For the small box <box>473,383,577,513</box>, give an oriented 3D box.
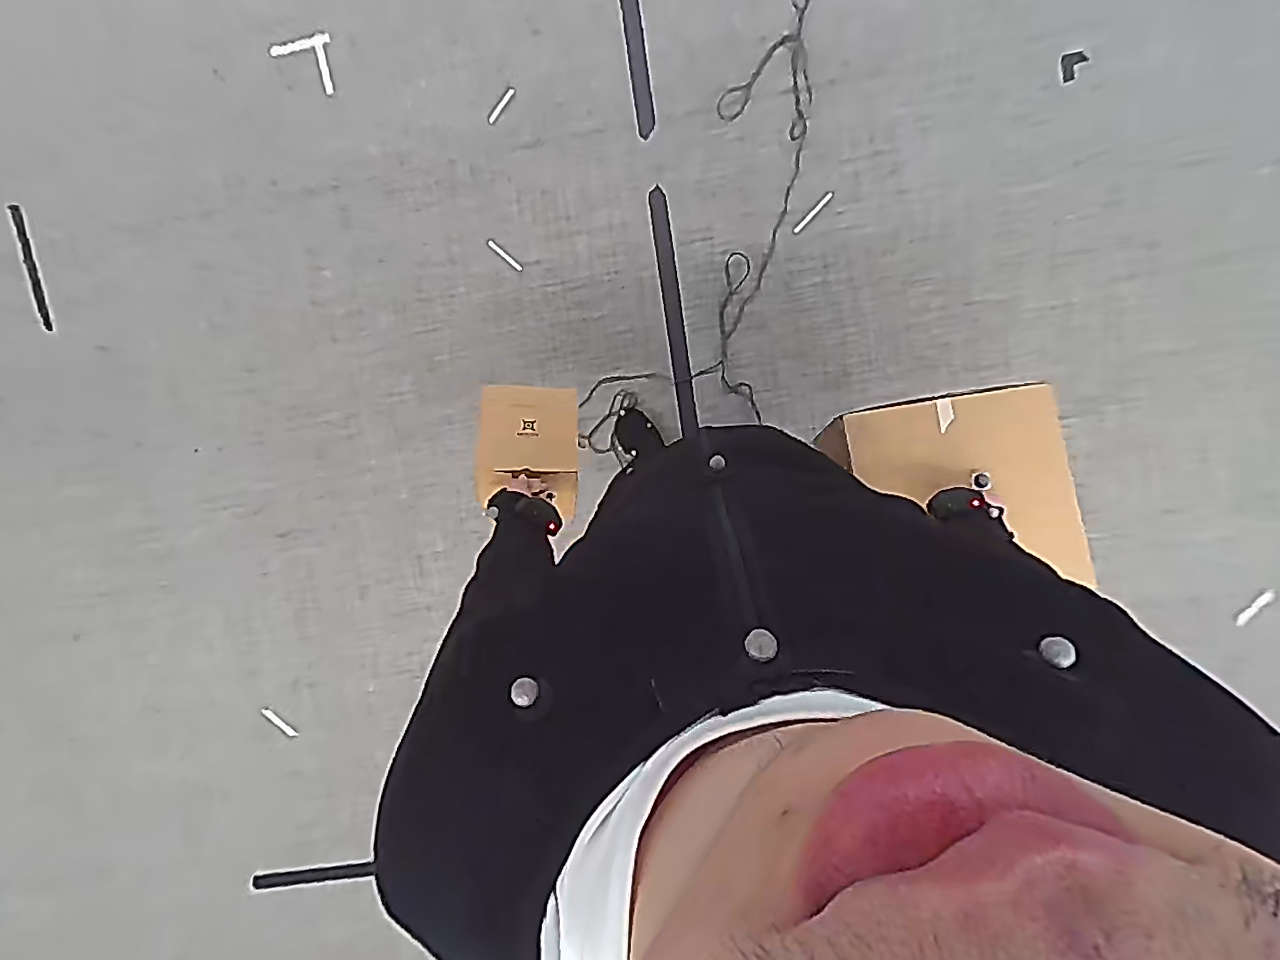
[{"bbox_3d":[-0.201,-0.051,0.976,0.168,0.176,0.179,2,60,-10],"label":"small box"}]
